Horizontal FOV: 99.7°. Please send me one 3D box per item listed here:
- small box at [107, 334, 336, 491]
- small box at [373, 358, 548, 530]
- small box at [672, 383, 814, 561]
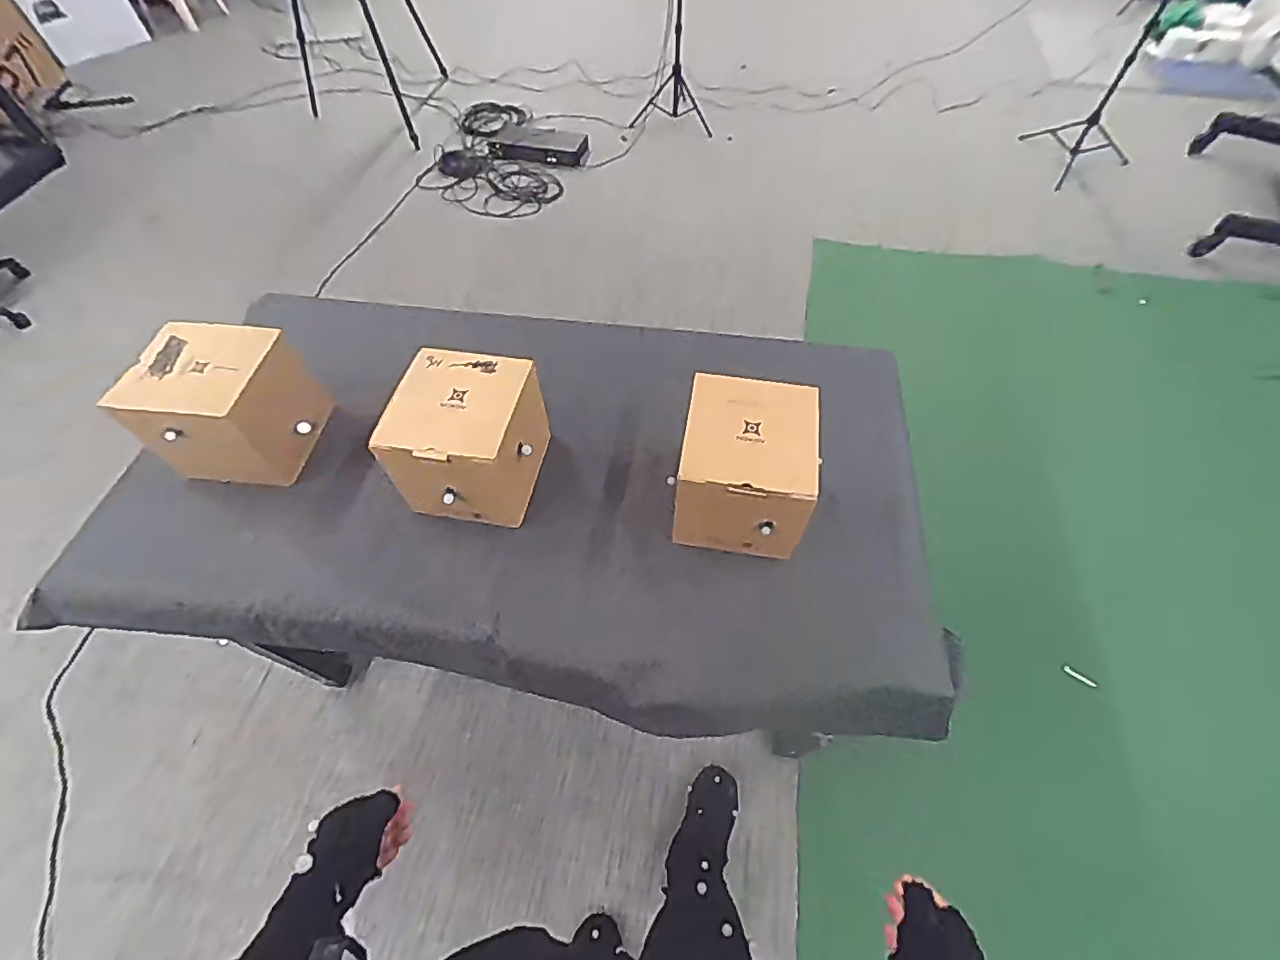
[{"bbox_3d":[-0.604,-0.096,0.810,0.179,0.176,0.168,5,57,2],"label":"small box"},{"bbox_3d":[-0.238,-0.046,0.775,0.168,0.176,0.179,8,57,6],"label":"small box"},{"bbox_3d":[0.137,-0.007,0.746,0.168,0.176,0.179,8,55,5],"label":"small box"}]
